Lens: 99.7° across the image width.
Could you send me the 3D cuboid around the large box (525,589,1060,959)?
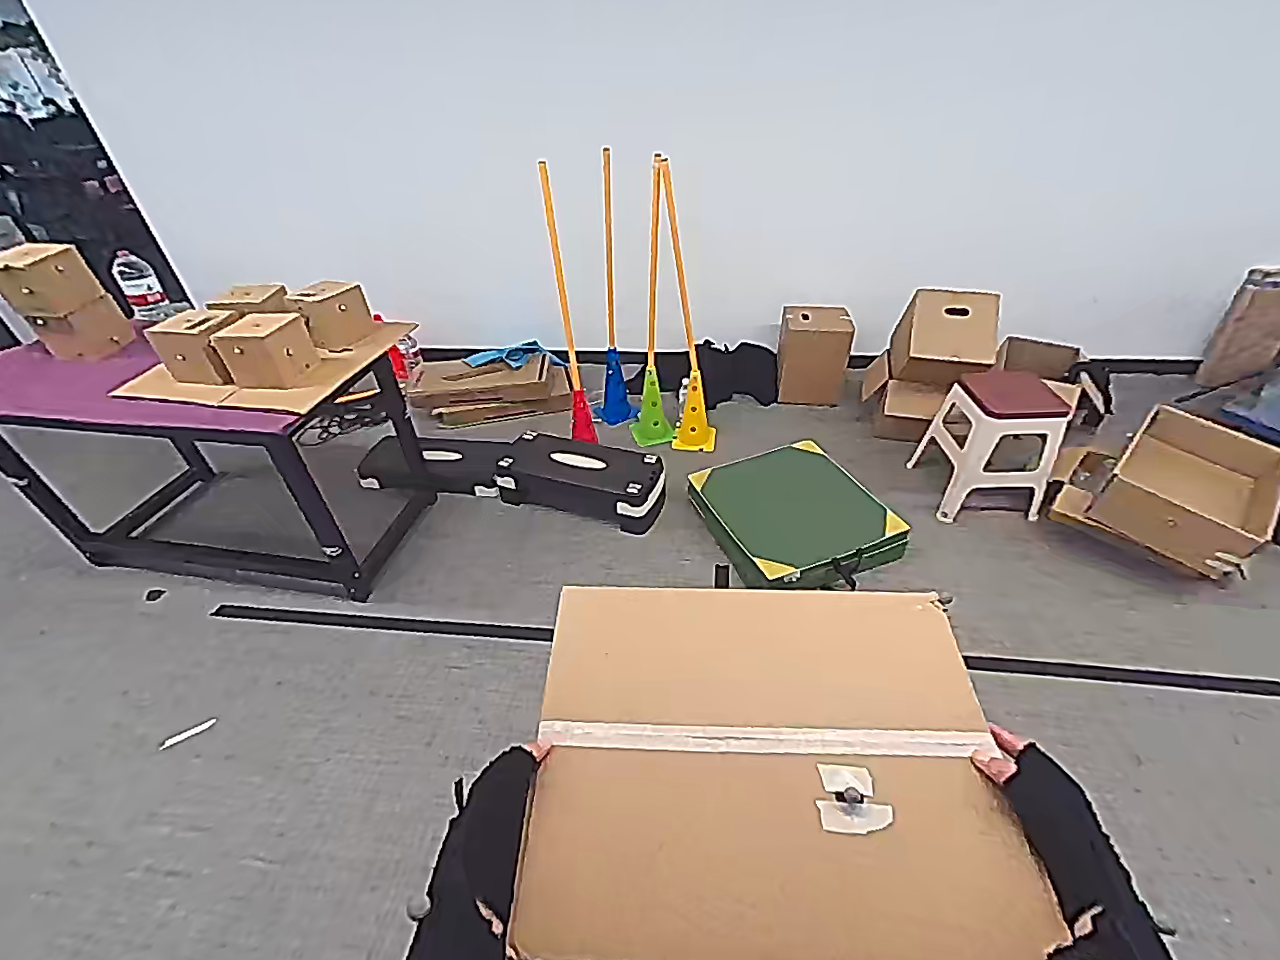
[{"bbox_3d":[0.117,0.337,0.608,0.408,0.320,0.320,1,48,3],"label":"large box"}]
